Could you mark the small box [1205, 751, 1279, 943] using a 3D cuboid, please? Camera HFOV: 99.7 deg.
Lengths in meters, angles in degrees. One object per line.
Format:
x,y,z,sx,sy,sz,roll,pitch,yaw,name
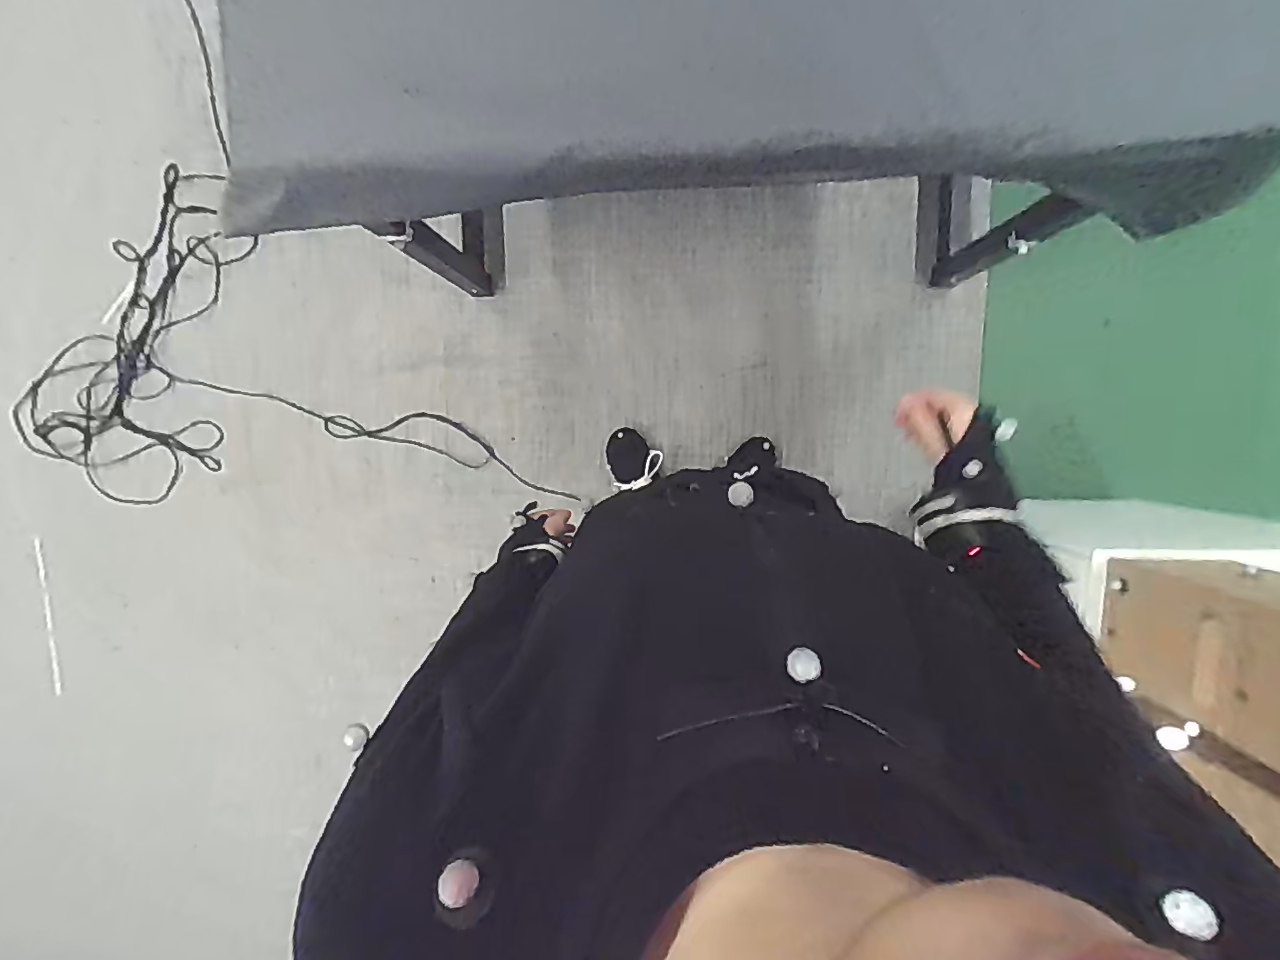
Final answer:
0.730,0.394,0.540,0.179,0.176,0.168,-4,95,3,small box
